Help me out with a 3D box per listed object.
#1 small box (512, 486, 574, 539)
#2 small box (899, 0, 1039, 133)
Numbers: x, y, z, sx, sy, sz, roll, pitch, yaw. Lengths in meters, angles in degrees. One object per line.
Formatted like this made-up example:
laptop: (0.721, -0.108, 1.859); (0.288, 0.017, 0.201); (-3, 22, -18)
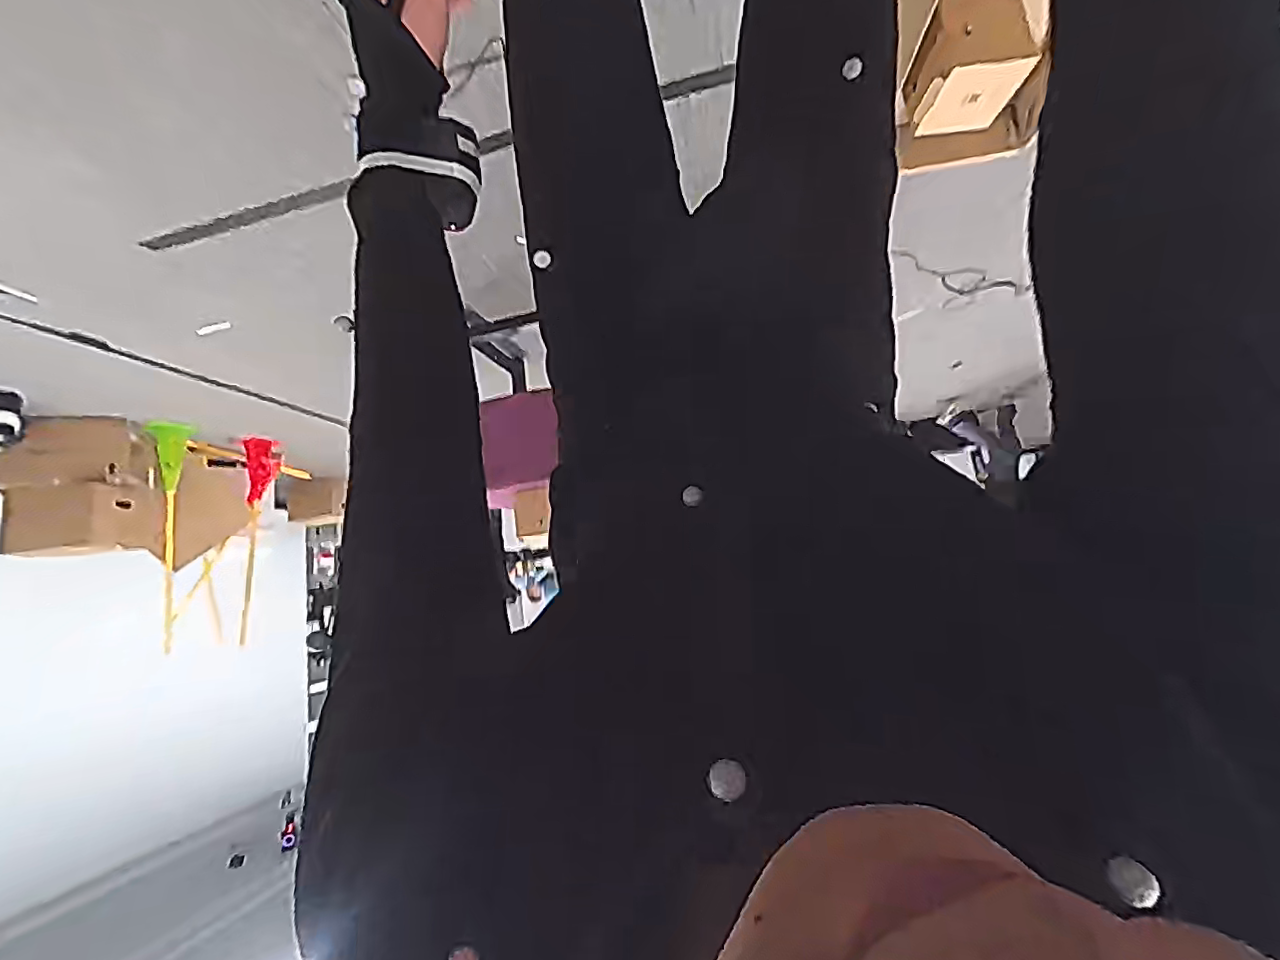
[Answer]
small box: (-0.358, 0.122, 2.000); (0.179, 0.176, 0.168); (-9, 170, 10)
small box: (0.670, -0.864, 1.124); (0.179, 0.176, 0.168); (-7, 170, -2)
